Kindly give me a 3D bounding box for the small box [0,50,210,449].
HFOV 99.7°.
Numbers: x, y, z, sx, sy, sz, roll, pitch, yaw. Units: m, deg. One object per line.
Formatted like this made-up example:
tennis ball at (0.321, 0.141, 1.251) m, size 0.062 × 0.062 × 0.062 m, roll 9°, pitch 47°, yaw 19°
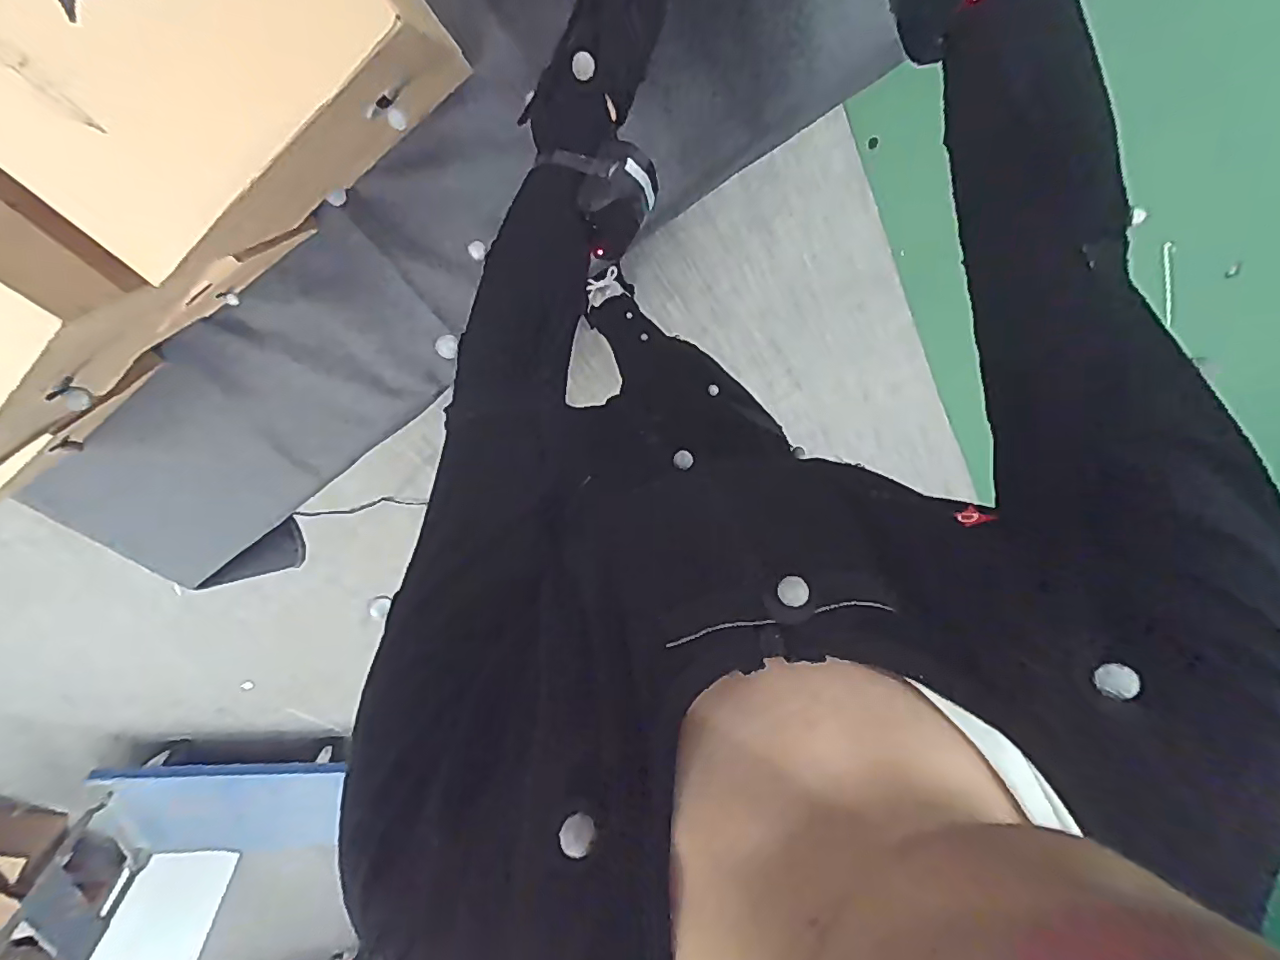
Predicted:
small box at (-0.408, -0.129, 0.315) m, size 0.179 × 0.176 × 0.168 m, roll -36°, pitch 123°, yaw 17°
